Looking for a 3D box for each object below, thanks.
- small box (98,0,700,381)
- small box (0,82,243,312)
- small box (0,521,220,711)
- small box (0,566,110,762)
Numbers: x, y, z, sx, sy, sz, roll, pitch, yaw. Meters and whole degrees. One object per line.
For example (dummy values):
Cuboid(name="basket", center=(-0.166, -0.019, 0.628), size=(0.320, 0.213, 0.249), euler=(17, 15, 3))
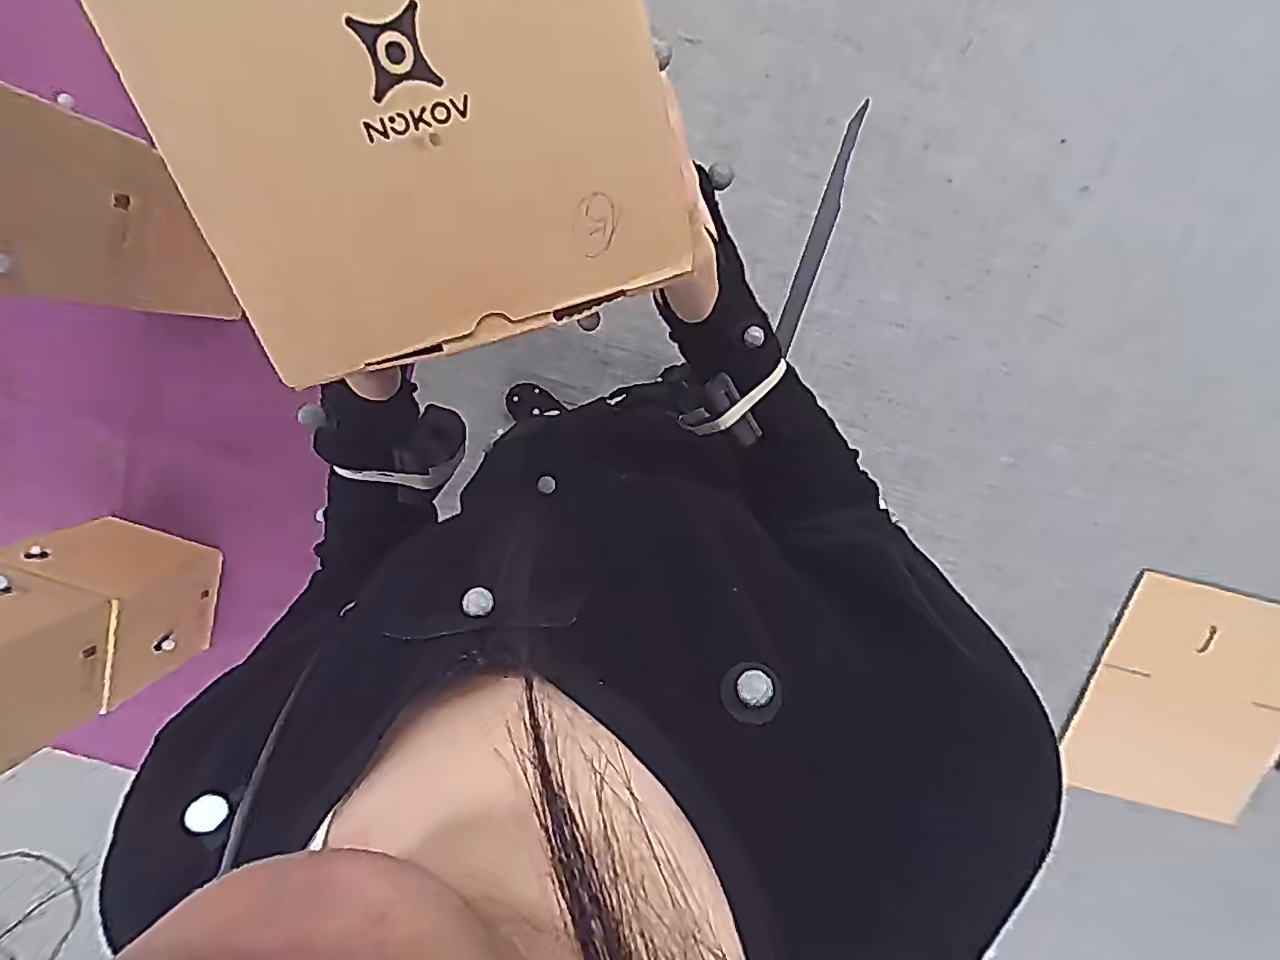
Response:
Cuboid(name="small box", center=(-0.084, -0.164, 0.249), size=(0.168, 0.176, 0.179), euler=(-17, 111, -2))
Cuboid(name="small box", center=(-0.589, -0.304, 0.620), size=(0.179, 0.176, 0.168), euler=(22, 103, -3))
Cuboid(name="small box", center=(-0.718, 0.170, 0.730), size=(0.179, 0.176, 0.168), euler=(18, 102, -1))
Cuboid(name="small box", center=(-0.730, 0.204, 0.569), size=(0.179, 0.176, 0.168), euler=(17, 103, -1))
